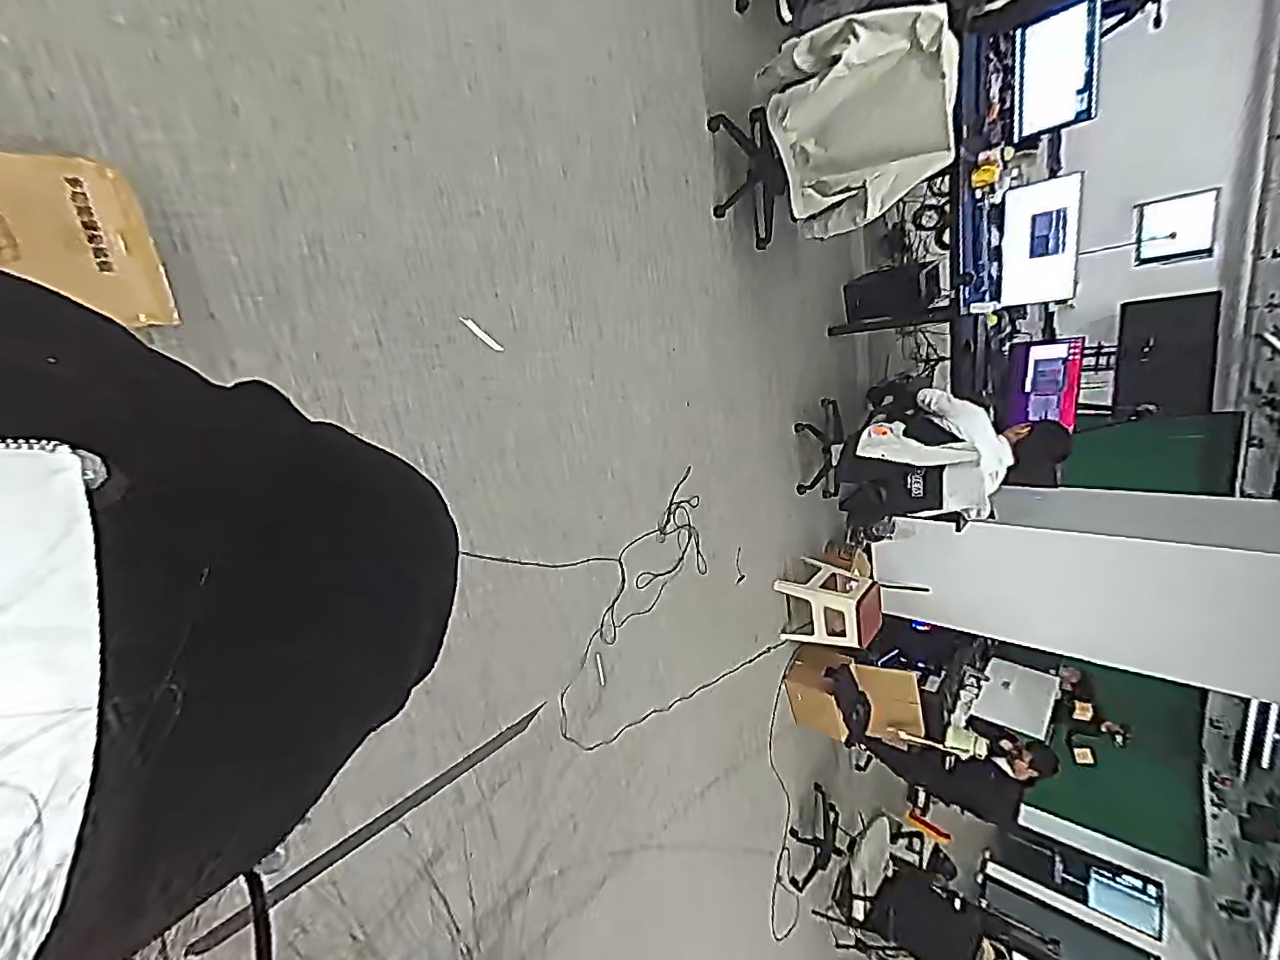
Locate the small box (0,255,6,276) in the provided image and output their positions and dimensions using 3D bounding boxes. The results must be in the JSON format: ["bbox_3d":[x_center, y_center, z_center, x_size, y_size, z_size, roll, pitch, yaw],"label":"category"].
[{"bbox_3d":[-1.085,-0.392,0.787,0.168,0.176,0.179,-24,111,-41],"label":"small box"}]
